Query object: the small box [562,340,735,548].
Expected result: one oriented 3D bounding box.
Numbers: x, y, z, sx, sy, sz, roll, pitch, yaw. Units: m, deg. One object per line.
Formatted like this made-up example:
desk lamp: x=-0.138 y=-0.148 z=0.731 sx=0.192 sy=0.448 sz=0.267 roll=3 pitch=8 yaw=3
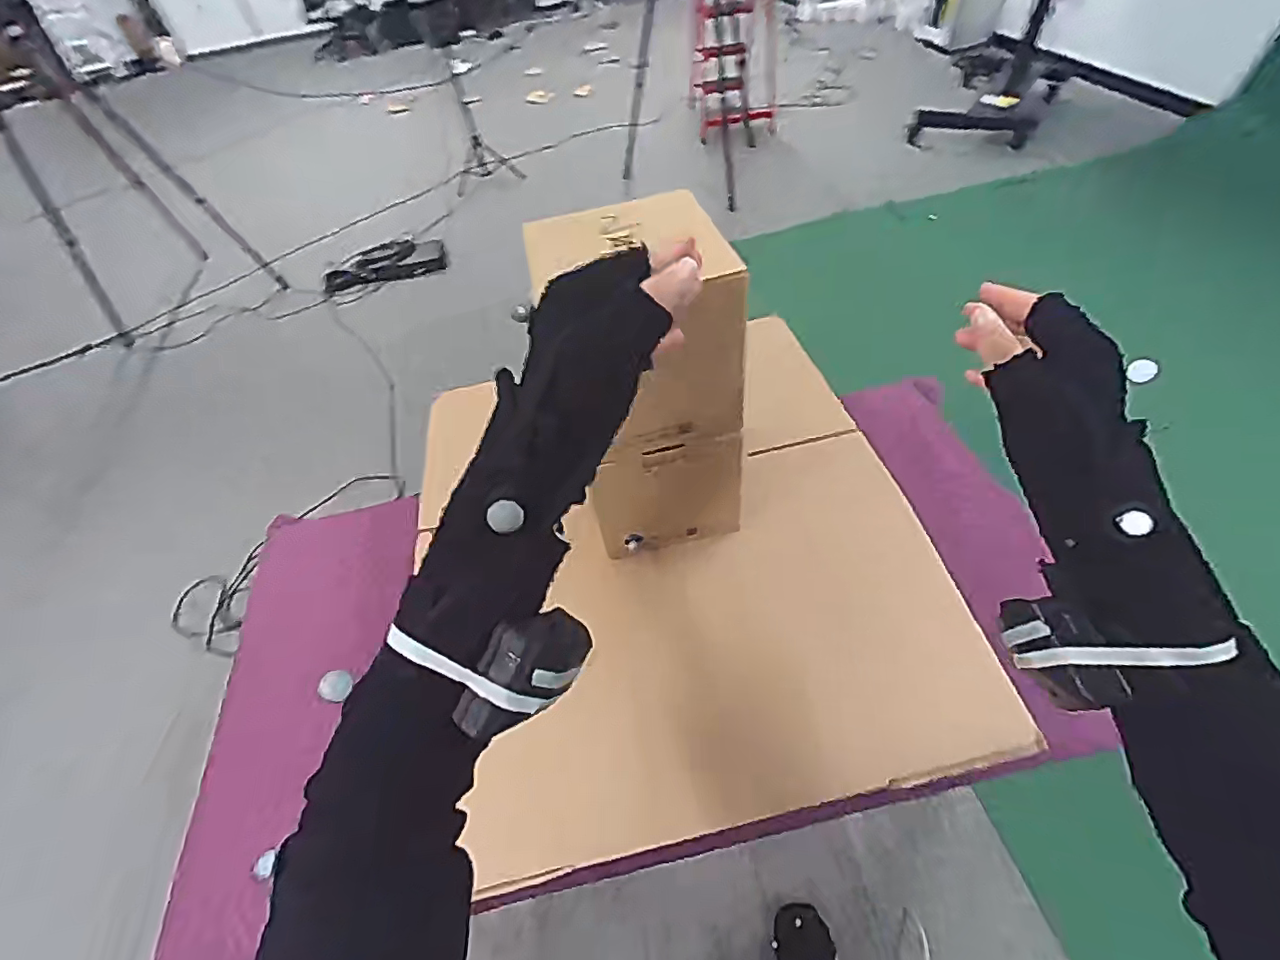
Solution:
small box: x=0.012 y=-0.036 z=0.653 sx=0.168 sy=0.176 sz=0.179 roll=-14 pitch=48 yaw=-3
